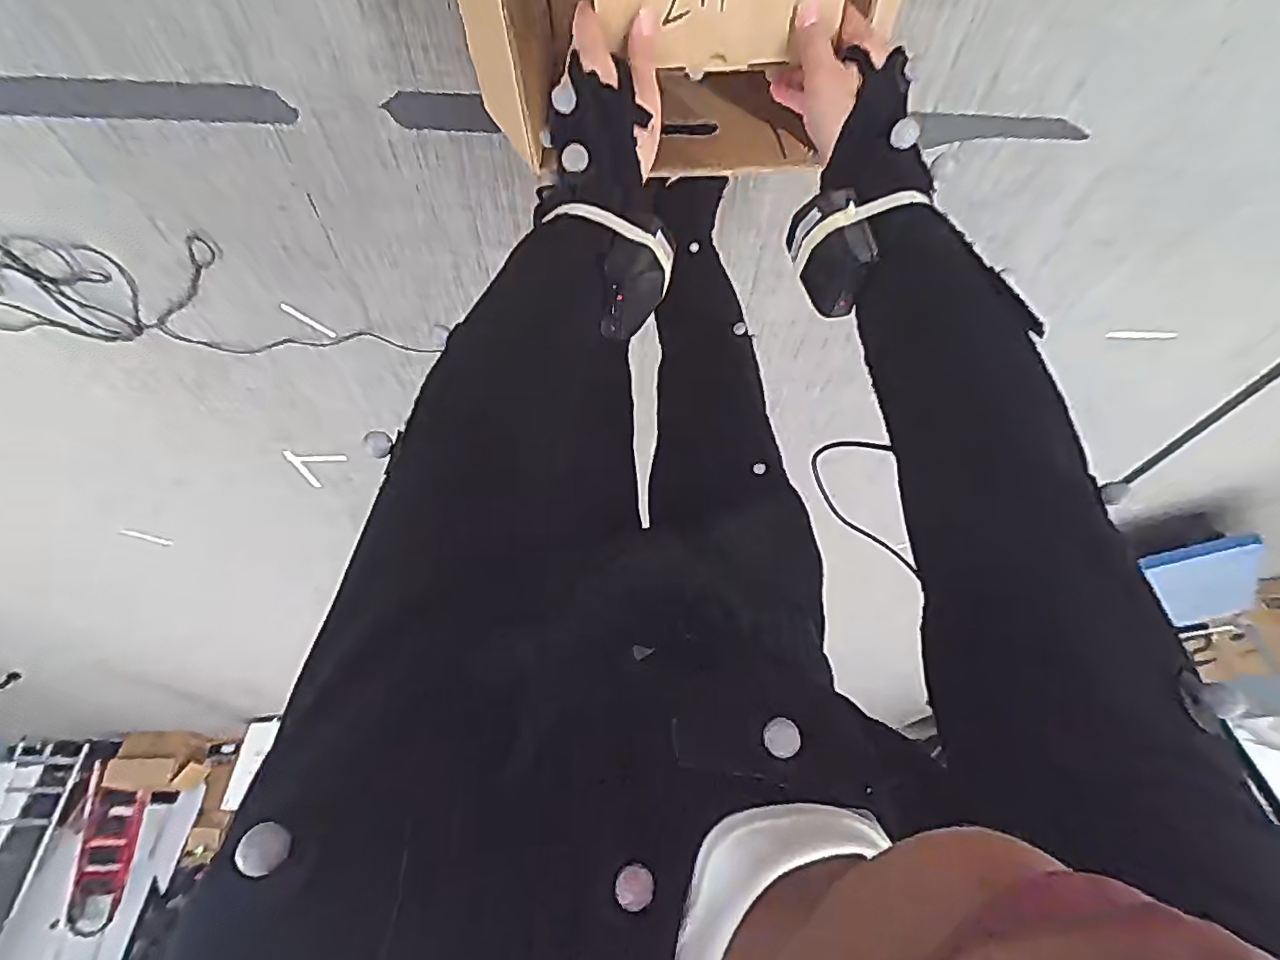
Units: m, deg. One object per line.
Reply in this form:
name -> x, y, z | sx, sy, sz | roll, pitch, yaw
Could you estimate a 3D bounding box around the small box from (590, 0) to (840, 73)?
small box -> 0.044, -0.401, 0.375 | 0.168, 0.176, 0.179 | -3, 132, 0
